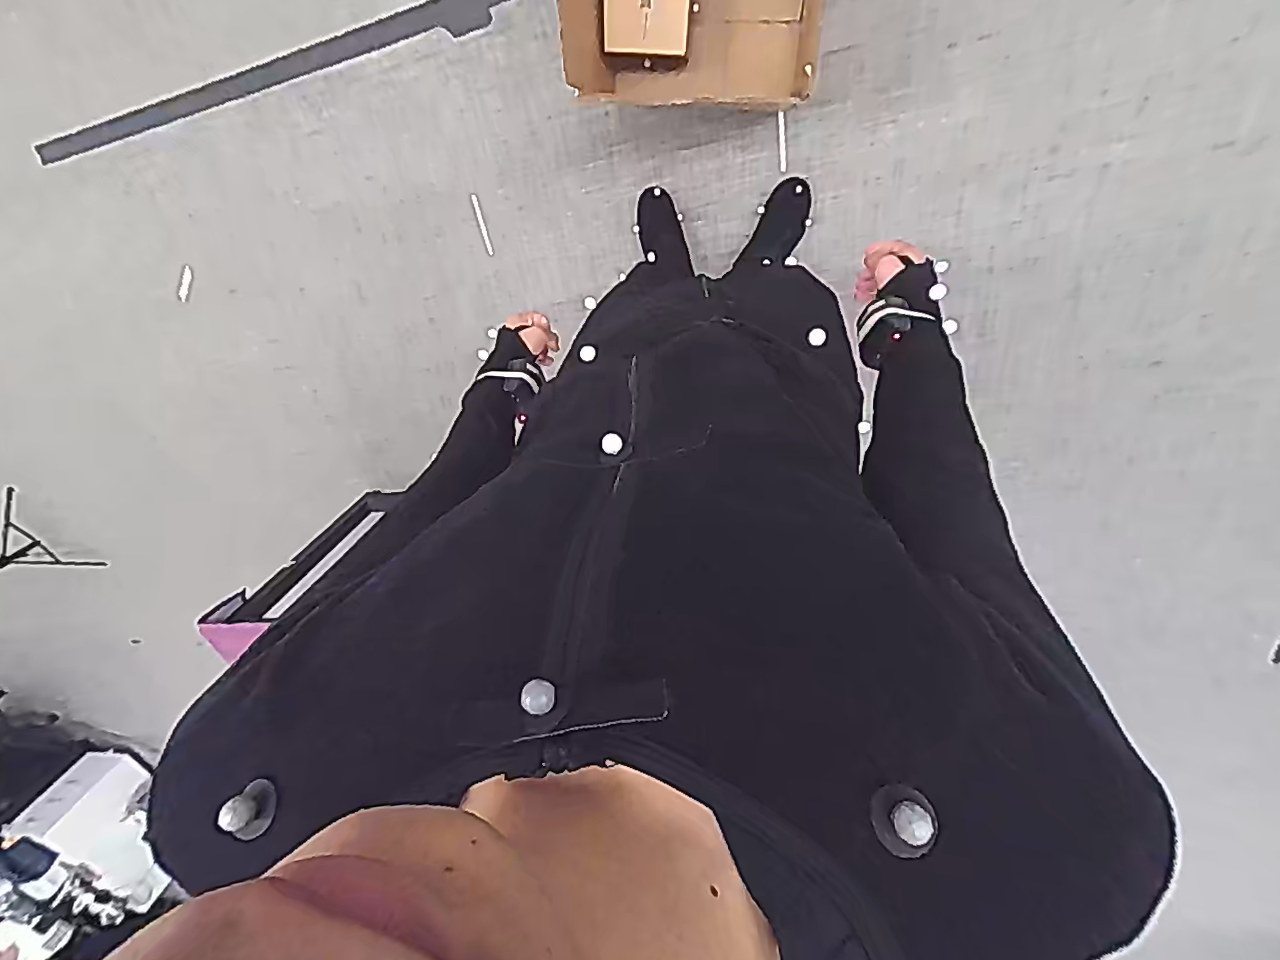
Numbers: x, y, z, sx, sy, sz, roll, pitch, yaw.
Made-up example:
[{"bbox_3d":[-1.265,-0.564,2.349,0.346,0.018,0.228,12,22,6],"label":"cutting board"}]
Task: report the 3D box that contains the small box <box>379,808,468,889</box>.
[{"bbox_3d":[-0.701,1.199,1.769,0.179,0.176,0.168,-13,119,20],"label":"small box"}]
